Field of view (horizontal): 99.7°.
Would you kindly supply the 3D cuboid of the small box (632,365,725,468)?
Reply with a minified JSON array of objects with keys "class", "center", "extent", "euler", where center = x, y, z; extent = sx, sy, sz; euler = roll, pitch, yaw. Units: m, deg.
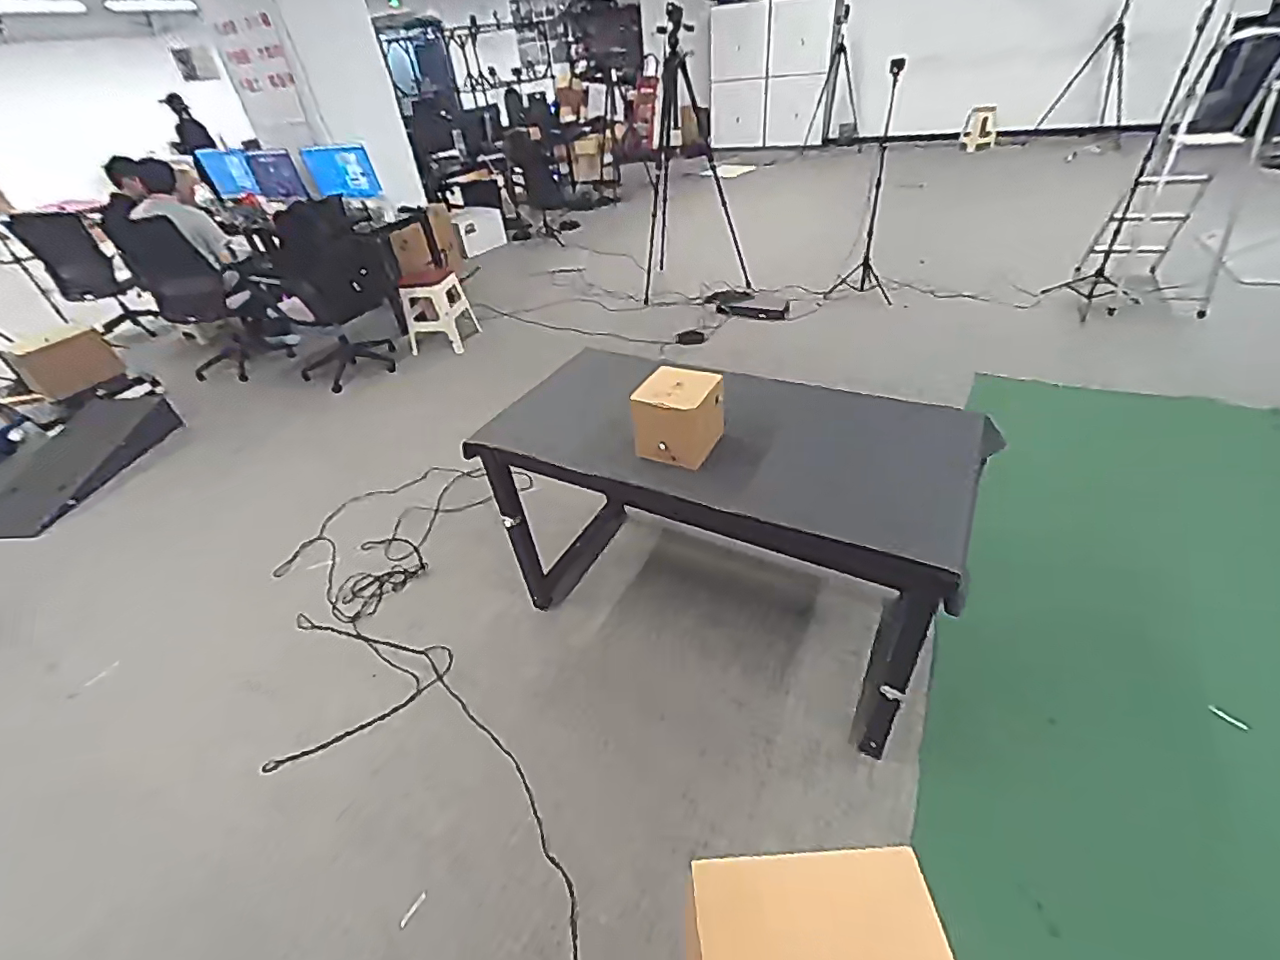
[{"class":"small box","center":[0.097,-0.157,1.316],"extent":[0.168,0.176,0.179],"euler":[14,42,26]}]
